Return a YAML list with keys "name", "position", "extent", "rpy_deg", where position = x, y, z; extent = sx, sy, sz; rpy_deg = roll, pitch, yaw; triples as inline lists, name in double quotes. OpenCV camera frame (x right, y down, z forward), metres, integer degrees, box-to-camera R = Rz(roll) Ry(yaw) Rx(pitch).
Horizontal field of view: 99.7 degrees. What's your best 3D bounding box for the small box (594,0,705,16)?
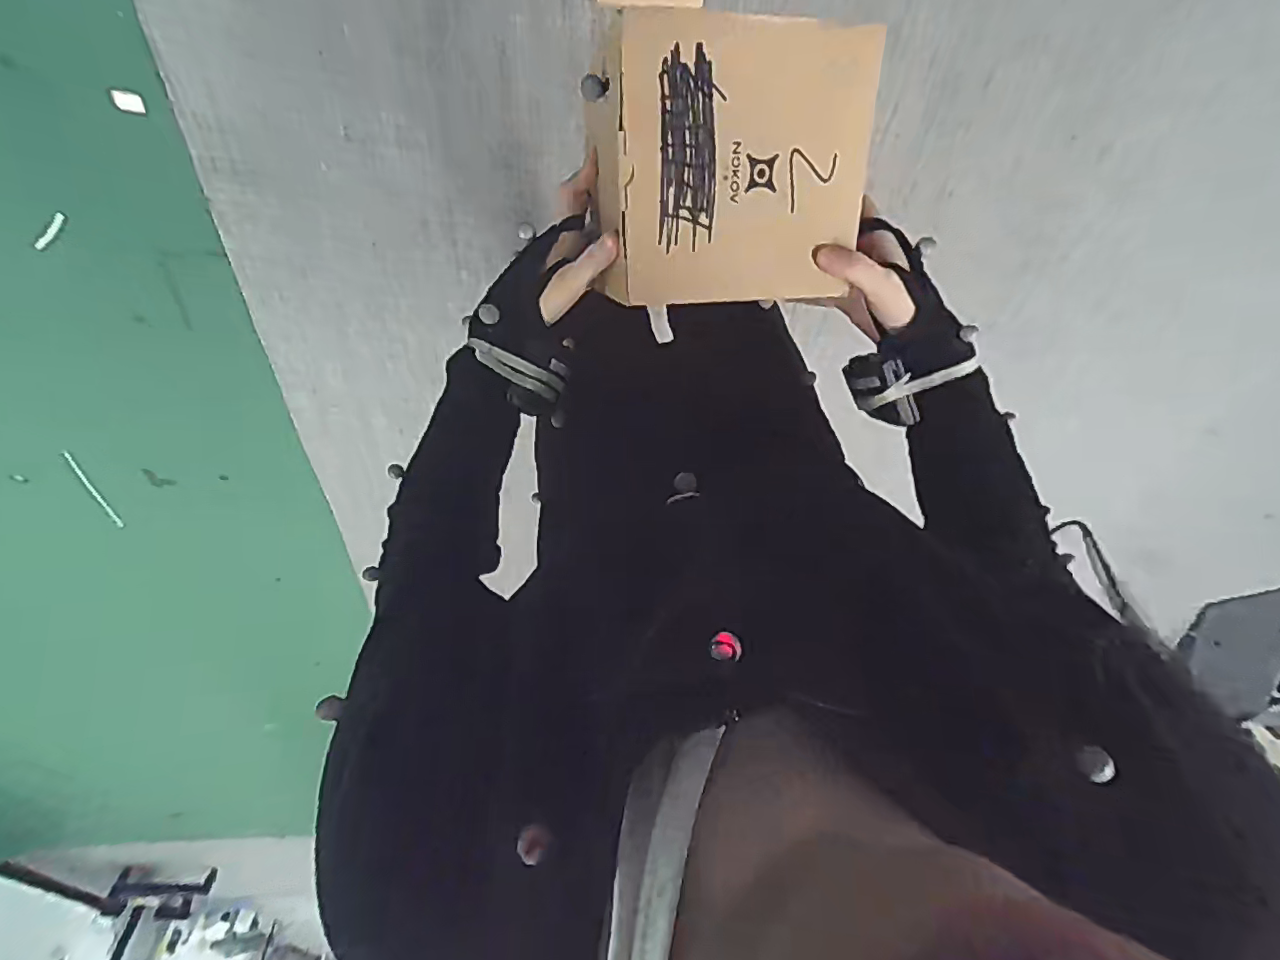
- name: "small box"
  position: [0.013, -0.856, 0.860]
  extent: [0.179, 0.176, 0.168]
  rpy_deg: [-1, 132, -4]
